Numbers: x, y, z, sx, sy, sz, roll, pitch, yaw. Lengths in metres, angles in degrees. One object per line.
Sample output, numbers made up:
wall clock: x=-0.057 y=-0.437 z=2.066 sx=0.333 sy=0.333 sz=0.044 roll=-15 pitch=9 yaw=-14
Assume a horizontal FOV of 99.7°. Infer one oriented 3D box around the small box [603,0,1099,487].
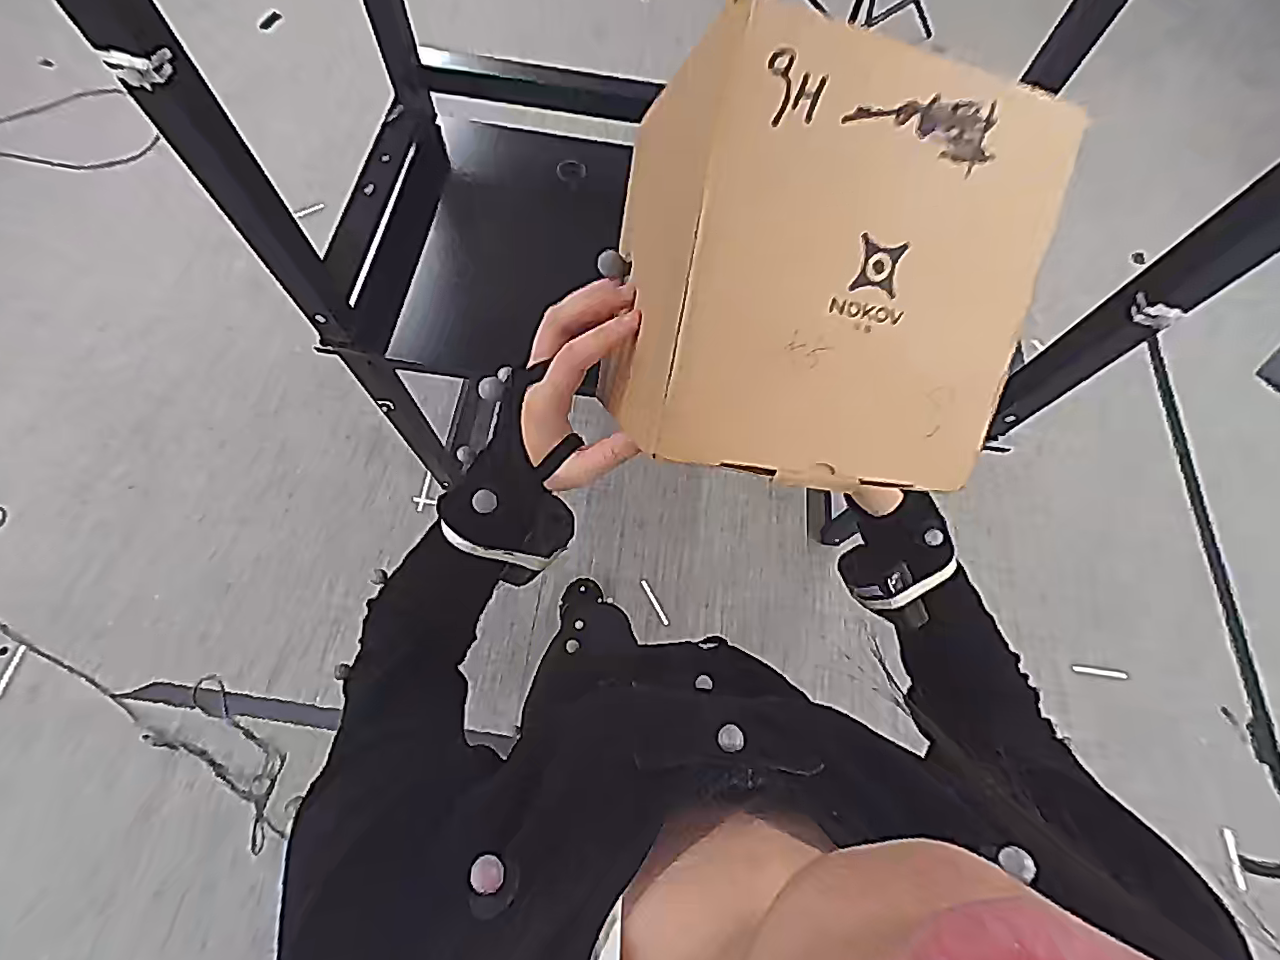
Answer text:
small box: x=0.080 y=-0.111 z=0.300 sx=0.168 sy=0.176 sz=0.179 roll=5 pitch=107 yaw=-16
